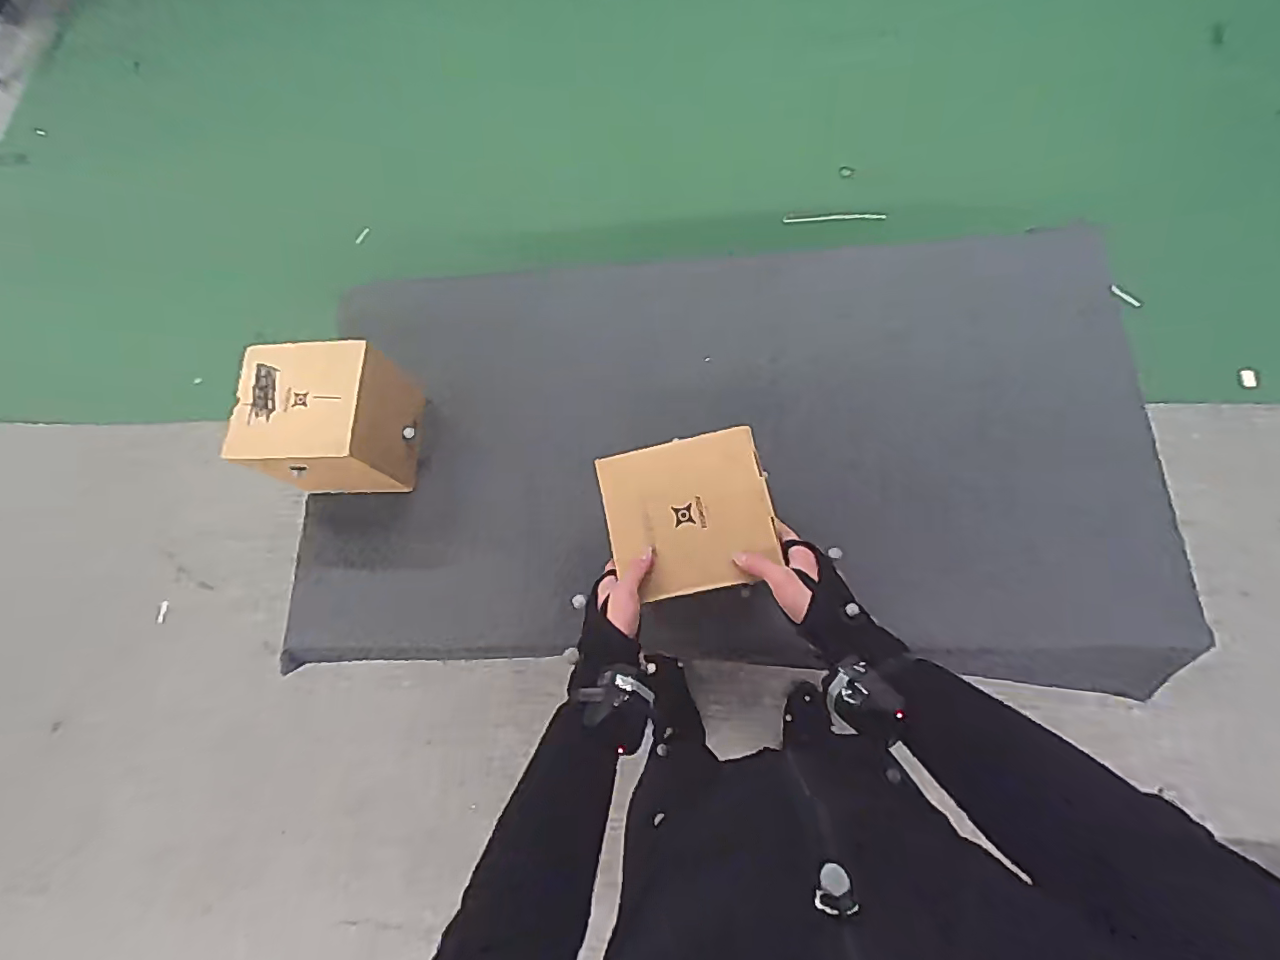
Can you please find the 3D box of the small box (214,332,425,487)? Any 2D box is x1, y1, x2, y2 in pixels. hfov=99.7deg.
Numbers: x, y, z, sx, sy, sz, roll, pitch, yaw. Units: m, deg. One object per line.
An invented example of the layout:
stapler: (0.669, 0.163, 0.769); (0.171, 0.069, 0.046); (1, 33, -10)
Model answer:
small box: (-0.432, -0.089, 0.757); (0.179, 0.176, 0.168); (-1, 75, 4)

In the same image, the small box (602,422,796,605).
small box: (0.069, 0.048, 0.642); (0.179, 0.176, 0.168); (-14, 76, 7)
